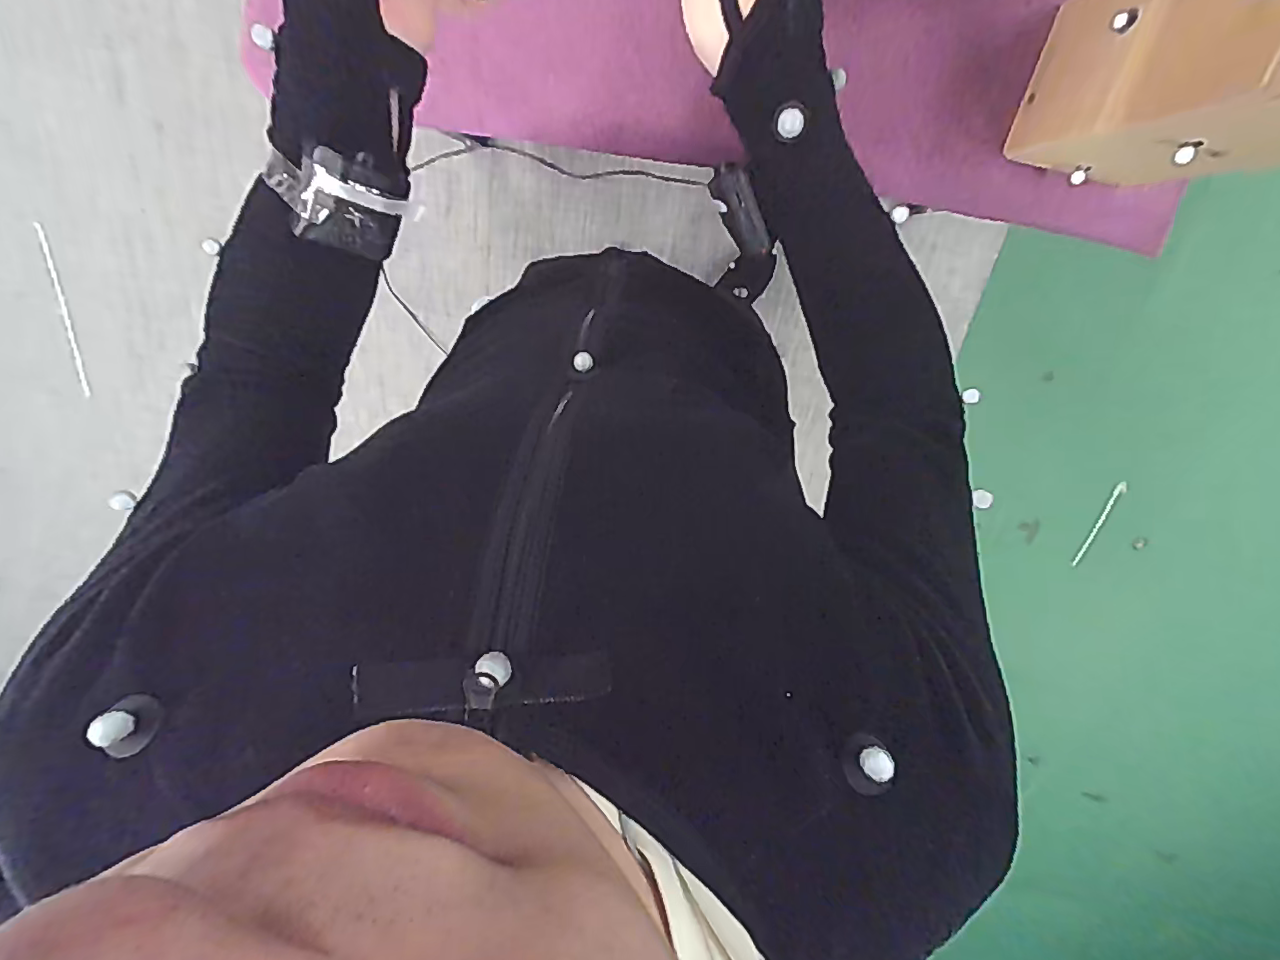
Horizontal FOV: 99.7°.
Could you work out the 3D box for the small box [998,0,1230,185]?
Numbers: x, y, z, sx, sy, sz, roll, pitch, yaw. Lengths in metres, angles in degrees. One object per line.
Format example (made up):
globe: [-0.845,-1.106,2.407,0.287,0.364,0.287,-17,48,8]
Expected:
small box: [0.566,-0.448,0.615,0.179,0.176,0.168,12,112,-3]
